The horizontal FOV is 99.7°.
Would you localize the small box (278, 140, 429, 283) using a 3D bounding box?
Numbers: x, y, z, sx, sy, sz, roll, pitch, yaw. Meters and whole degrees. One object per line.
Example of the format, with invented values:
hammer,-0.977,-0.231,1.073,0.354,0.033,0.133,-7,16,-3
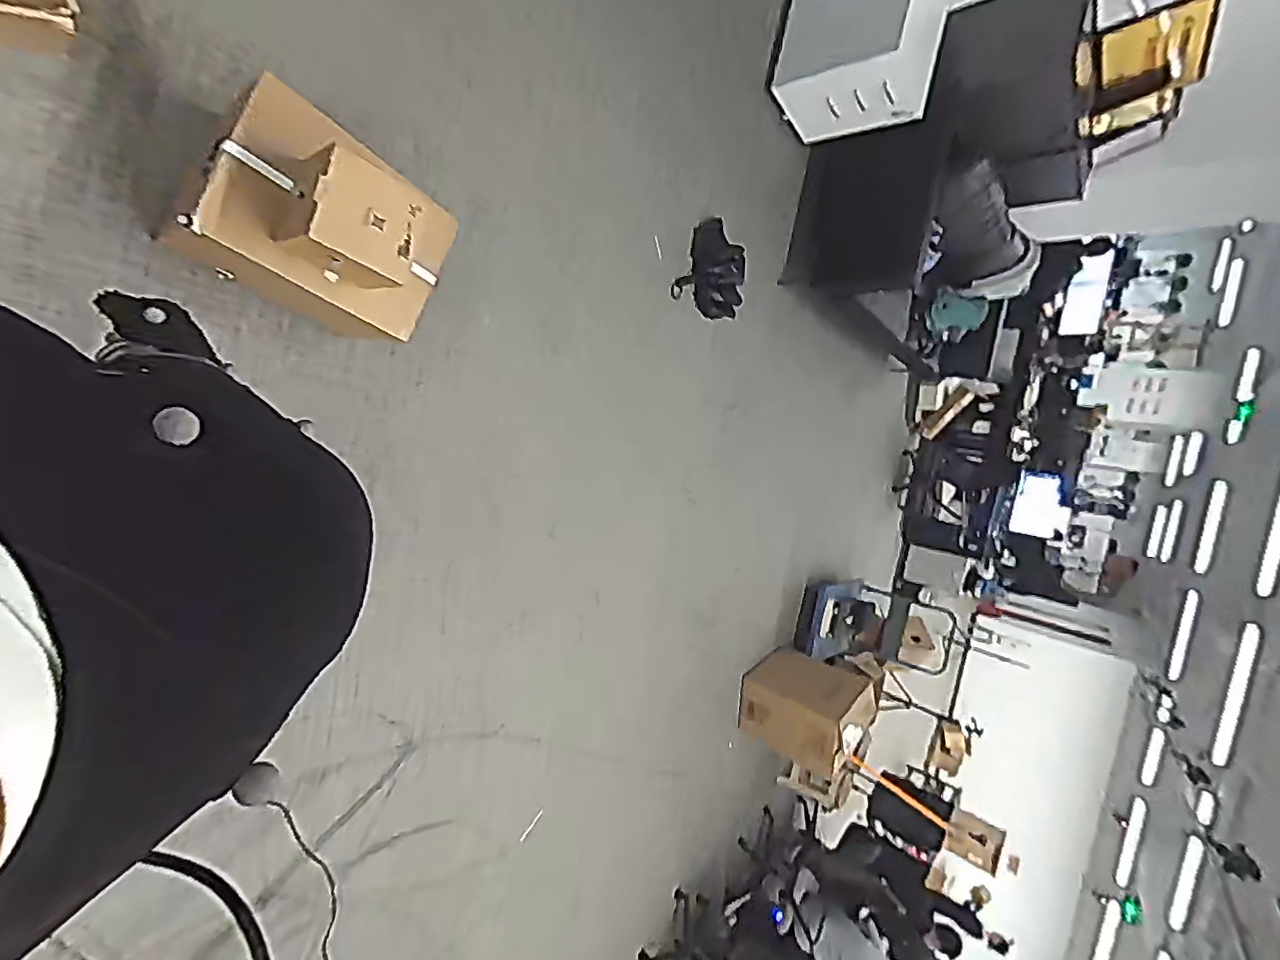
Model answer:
small box,-0.526,-0.472,0.988,0.179,0.176,0.168,19,87,-50
